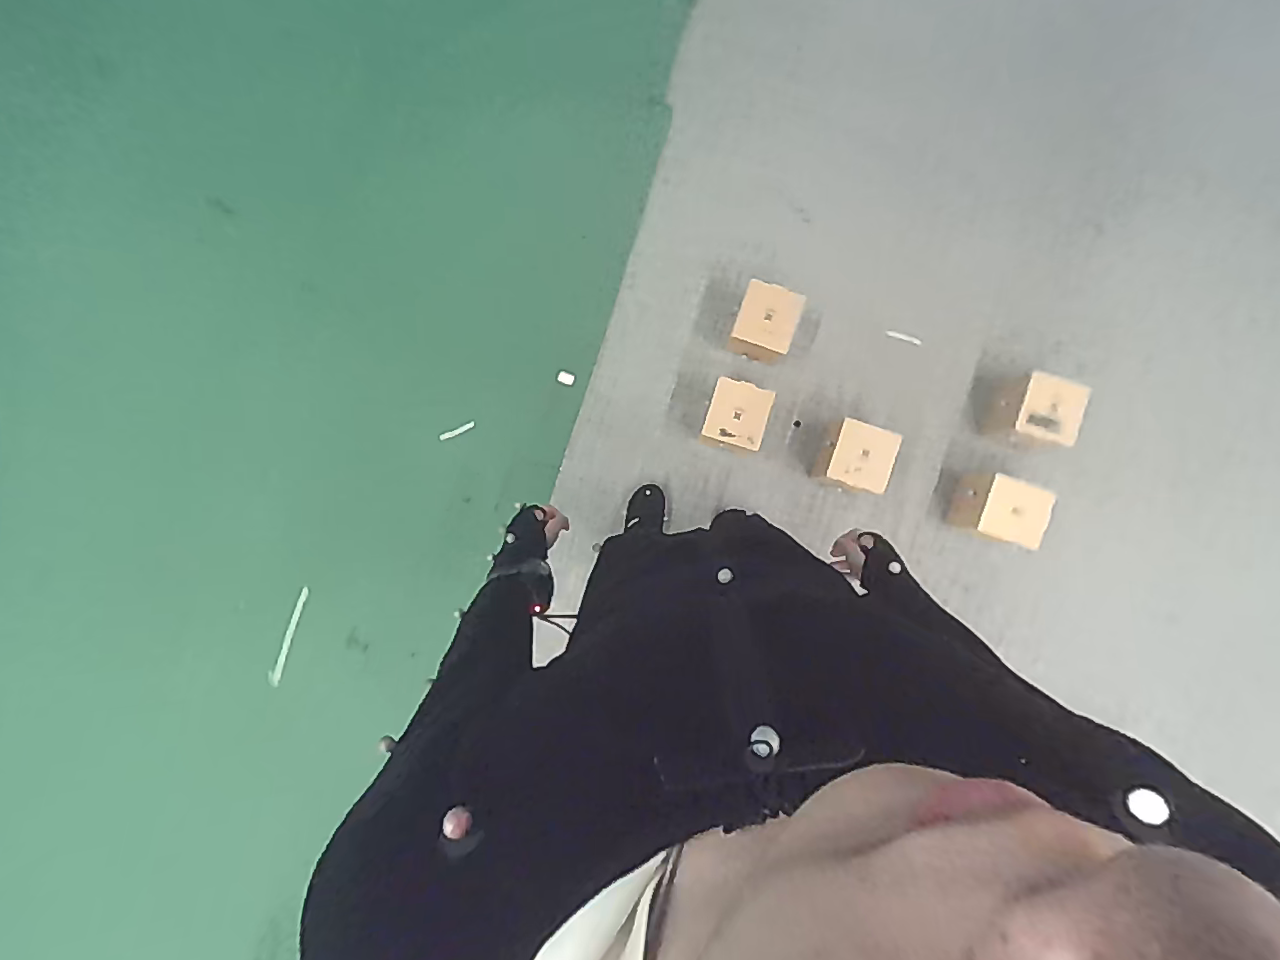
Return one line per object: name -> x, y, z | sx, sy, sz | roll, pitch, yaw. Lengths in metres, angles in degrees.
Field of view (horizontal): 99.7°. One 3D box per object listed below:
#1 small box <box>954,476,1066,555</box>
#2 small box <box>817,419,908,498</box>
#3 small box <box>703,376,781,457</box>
small box -> 1.027, 0.098, 1.517 | 0.179, 0.176, 0.168 | 20, 89, 2
small box -> 0.621, -0.056, 1.533 | 0.168, 0.176, 0.179 | 20, 89, 3
small box -> 0.284, -0.176, 1.549 | 0.168, 0.176, 0.179 | 18, 88, 3
